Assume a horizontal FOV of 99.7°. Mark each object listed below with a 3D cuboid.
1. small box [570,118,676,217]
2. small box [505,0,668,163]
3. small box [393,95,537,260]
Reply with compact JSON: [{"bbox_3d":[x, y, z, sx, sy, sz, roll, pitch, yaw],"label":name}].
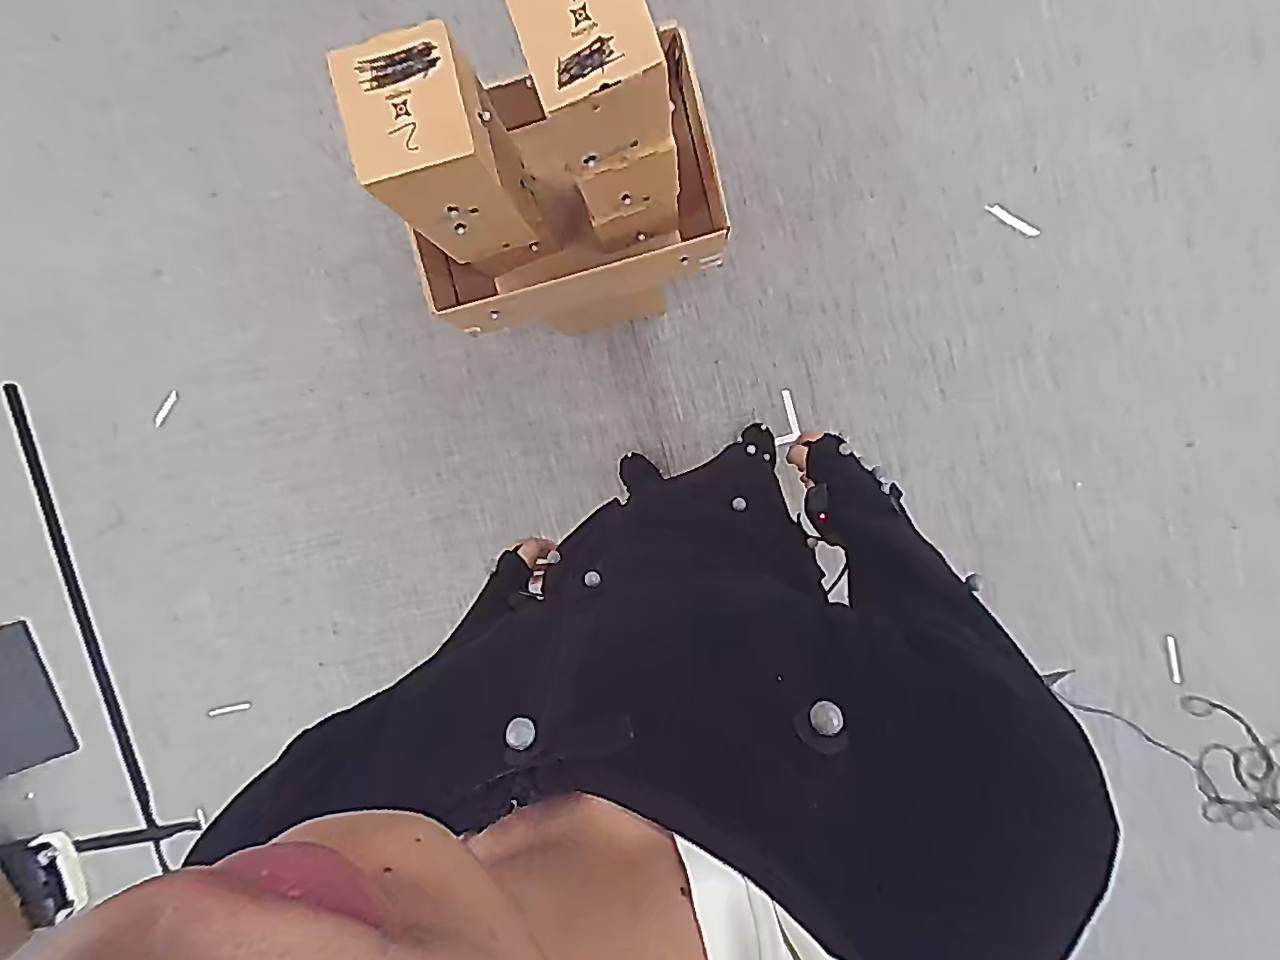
[{"bbox_3d":[-0.040,-0.583,0.915,0.168,0.176,0.179,-16,94,7],"label":"small box"},{"bbox_3d":[-0.064,-0.578,0.752,0.168,0.176,0.179,-19,93,7],"label":"small box"},{"bbox_3d":[-0.295,-0.514,0.944,0.168,0.176,0.179,-13,92,7],"label":"small box"}]
